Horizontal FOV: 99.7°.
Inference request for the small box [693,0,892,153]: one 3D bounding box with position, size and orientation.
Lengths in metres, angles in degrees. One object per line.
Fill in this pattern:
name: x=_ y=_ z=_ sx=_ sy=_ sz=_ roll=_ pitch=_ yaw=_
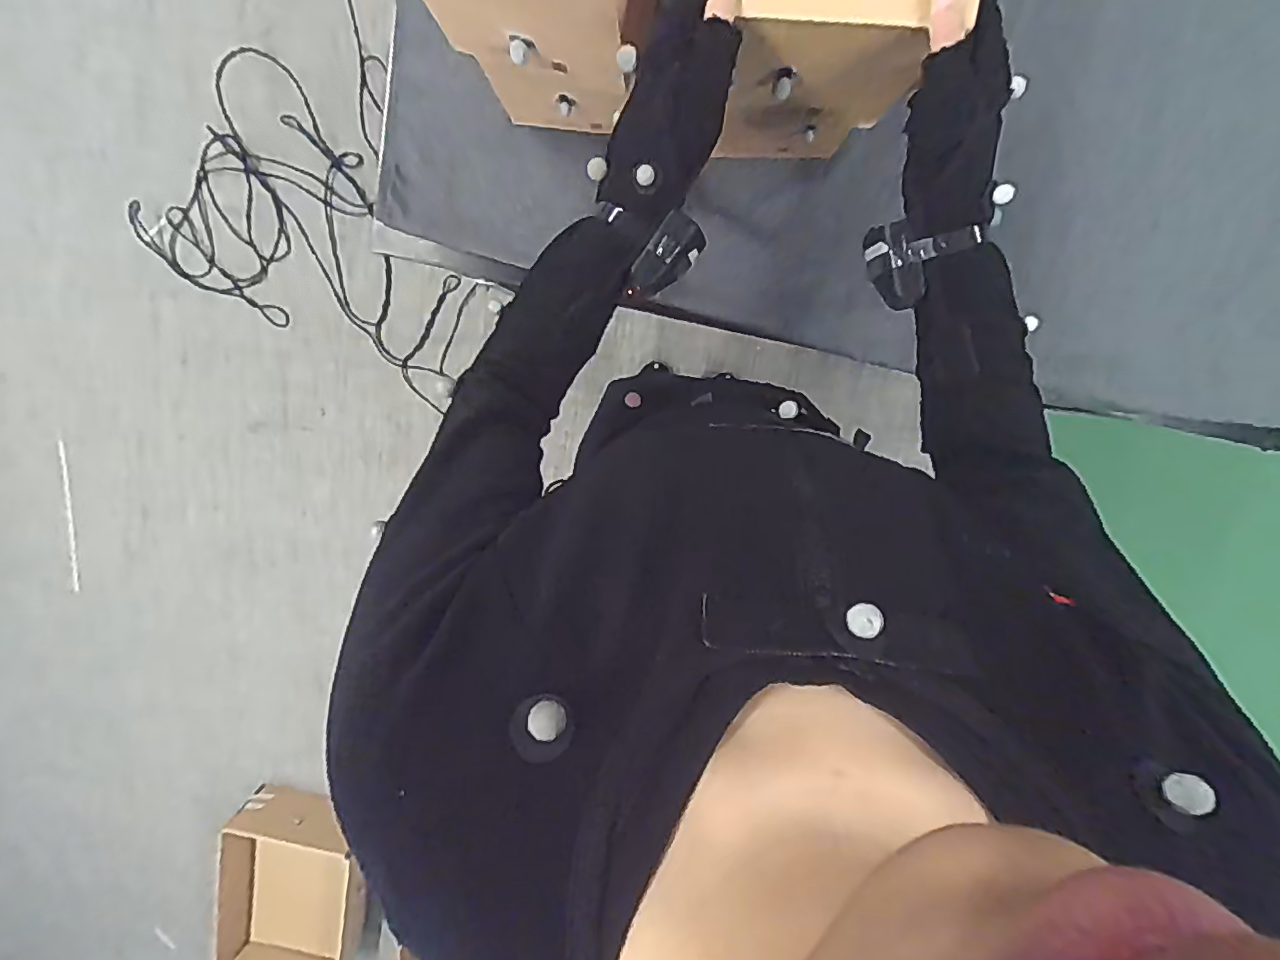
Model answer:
small box: x=0.144 y=-0.457 z=0.553 sx=0.168 sy=0.176 sz=0.179 roll=1 pitch=102 yaw=1
